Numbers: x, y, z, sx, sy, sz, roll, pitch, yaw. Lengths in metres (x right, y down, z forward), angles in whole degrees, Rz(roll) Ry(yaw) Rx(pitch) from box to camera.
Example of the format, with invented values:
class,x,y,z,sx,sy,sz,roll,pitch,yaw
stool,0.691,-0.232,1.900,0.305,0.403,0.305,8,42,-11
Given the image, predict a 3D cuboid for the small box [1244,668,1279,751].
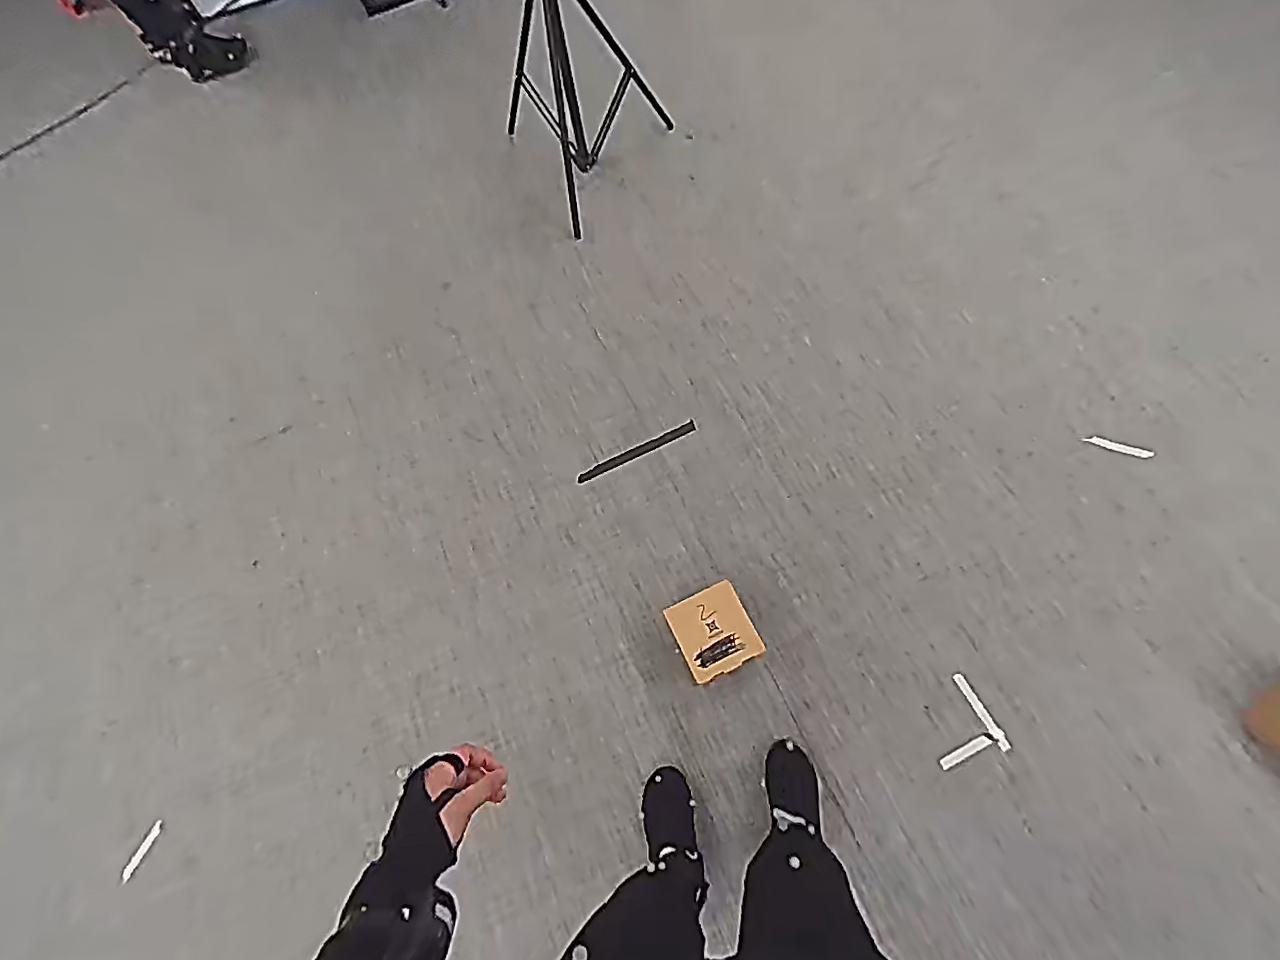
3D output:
class,x,y,z,sx,sy,sz,roll,pitch,yaw
small box,1.395,0.488,1.079,0.179,0.176,0.168,-39,70,-10
